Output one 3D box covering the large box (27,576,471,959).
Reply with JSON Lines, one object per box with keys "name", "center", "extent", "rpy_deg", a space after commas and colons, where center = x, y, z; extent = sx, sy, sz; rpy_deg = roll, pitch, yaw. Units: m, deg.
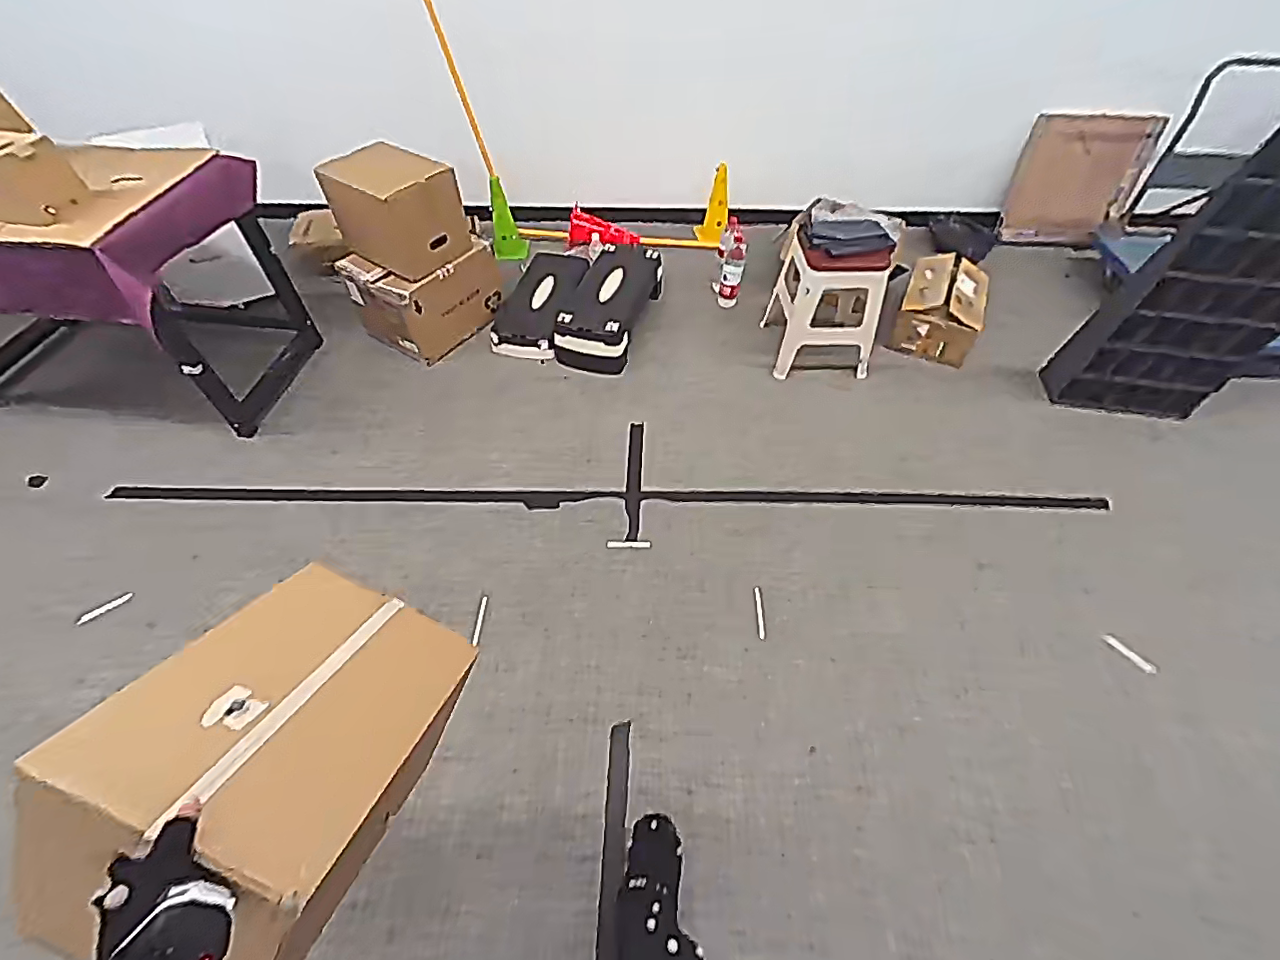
{"name": "large box", "center": [-0.507, 0.416, 0.774], "extent": [0.320, 0.320, 0.408], "rpy_deg": [27, 22, -1]}
